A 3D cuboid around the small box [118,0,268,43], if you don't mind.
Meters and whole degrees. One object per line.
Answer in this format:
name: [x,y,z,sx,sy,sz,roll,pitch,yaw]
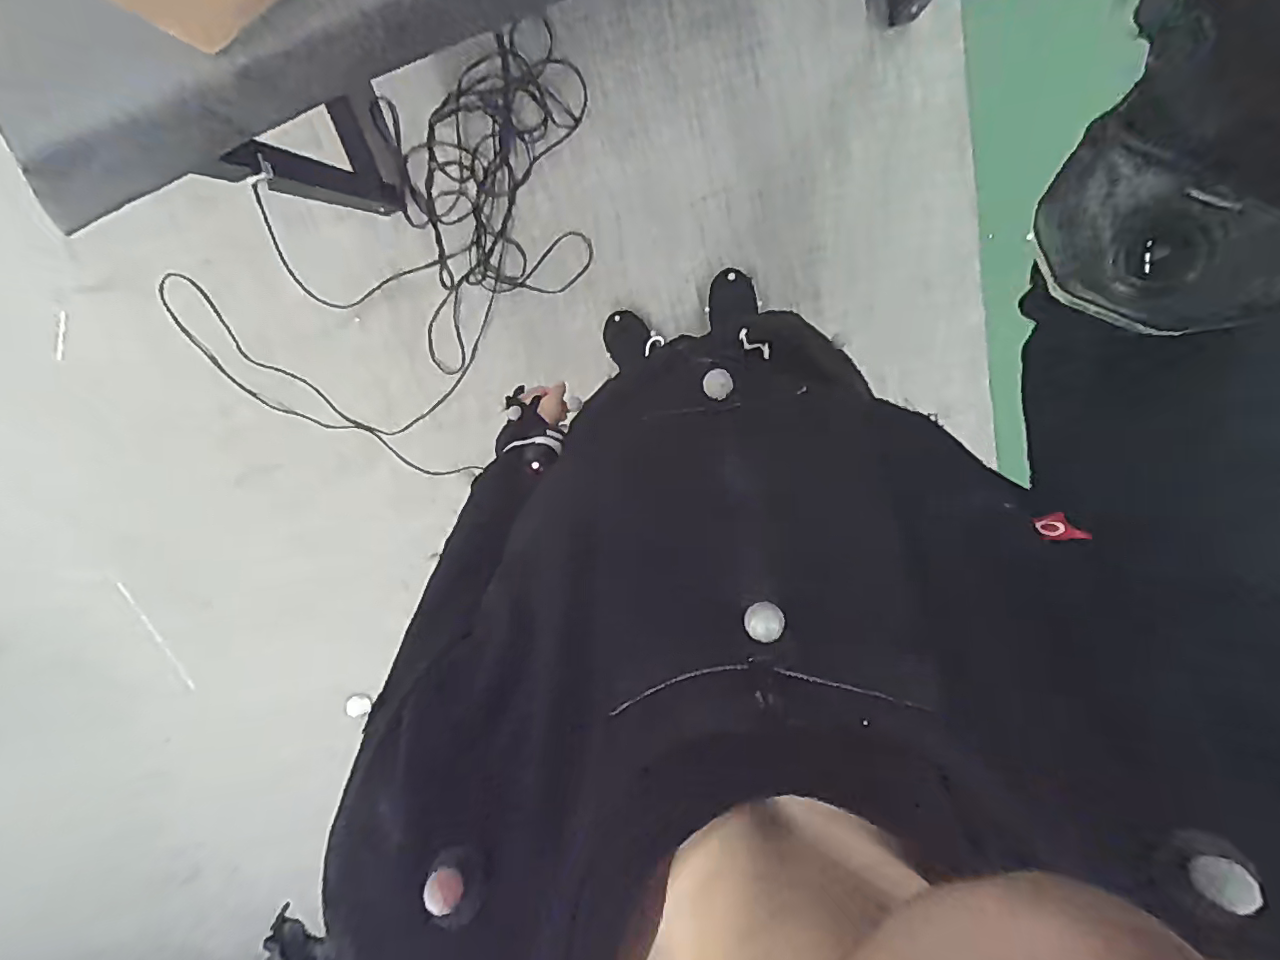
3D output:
small box: [-0.379,-0.488,0.403,0.179,0.176,0.168,-26,105,13]
